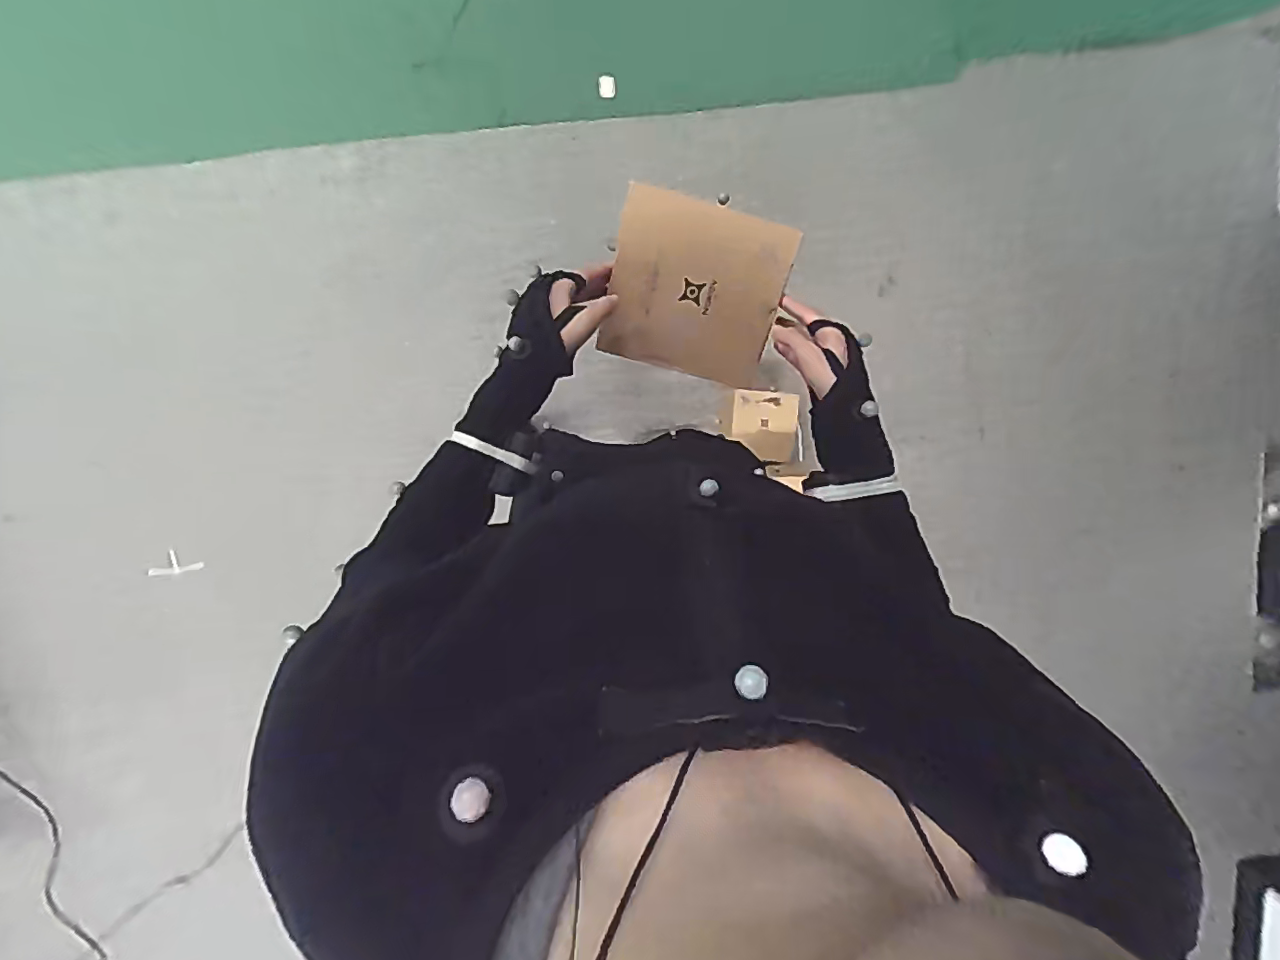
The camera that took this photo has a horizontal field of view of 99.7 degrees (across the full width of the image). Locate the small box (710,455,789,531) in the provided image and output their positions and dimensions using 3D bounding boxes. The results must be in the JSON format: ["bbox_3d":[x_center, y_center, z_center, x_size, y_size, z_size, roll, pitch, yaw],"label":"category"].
[{"bbox_3d":[0.295,0.029,1.450,0.179,0.176,0.168,-7,100,-2],"label":"small box"}]

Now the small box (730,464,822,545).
[{"bbox_3d":[0.316,0.054,1.288,0.179,0.176,0.168,-1,100,-3],"label":"small box"}]
